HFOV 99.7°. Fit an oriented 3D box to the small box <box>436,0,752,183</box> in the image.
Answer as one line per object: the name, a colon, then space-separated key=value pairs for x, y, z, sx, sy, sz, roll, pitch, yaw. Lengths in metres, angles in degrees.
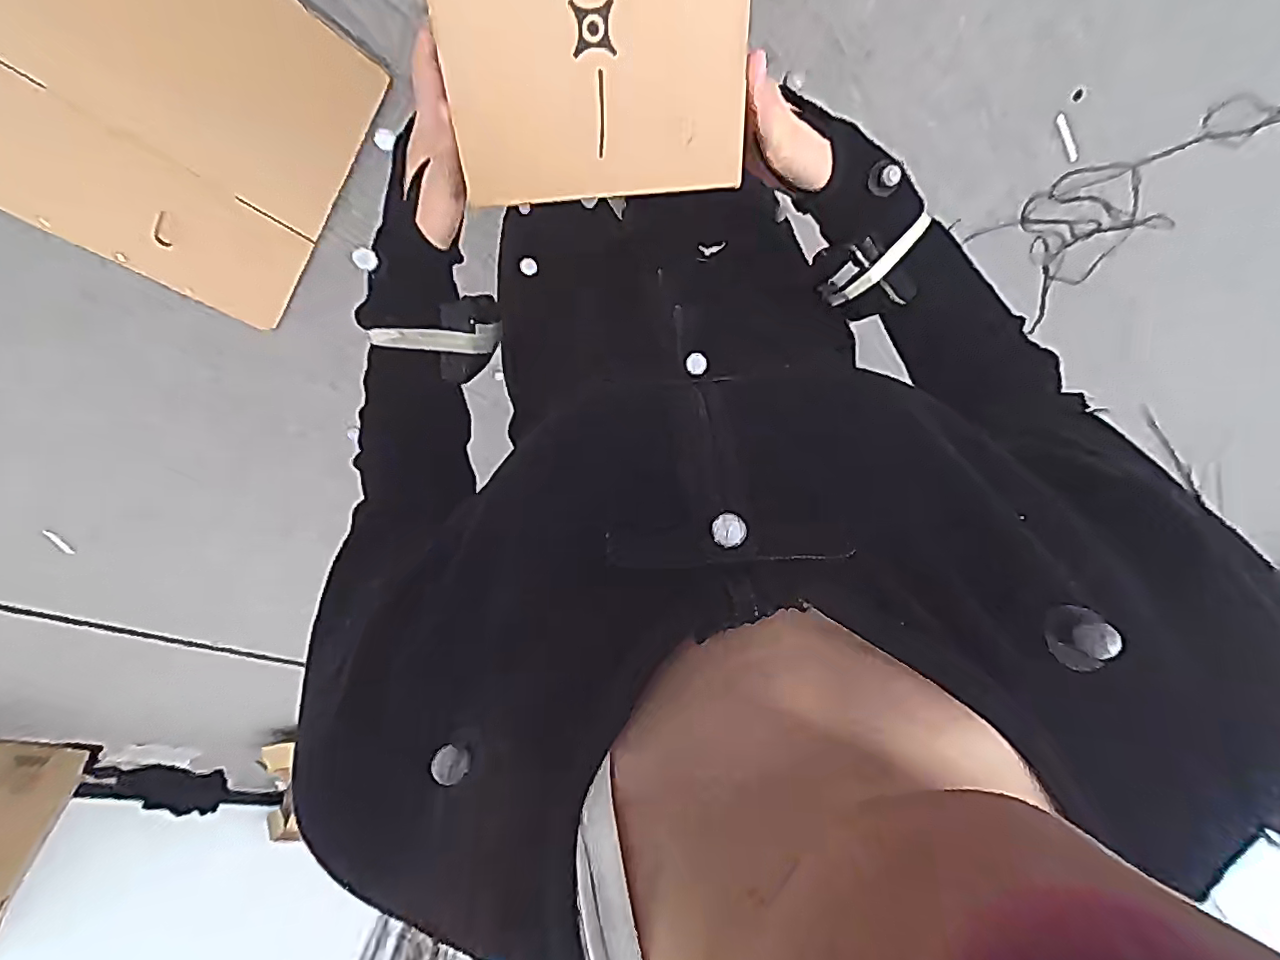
small box: x=-0.034 y=-0.294 z=0.339 sx=0.168 sy=0.176 sz=0.179 roll=-7 pitch=124 yaw=-5
